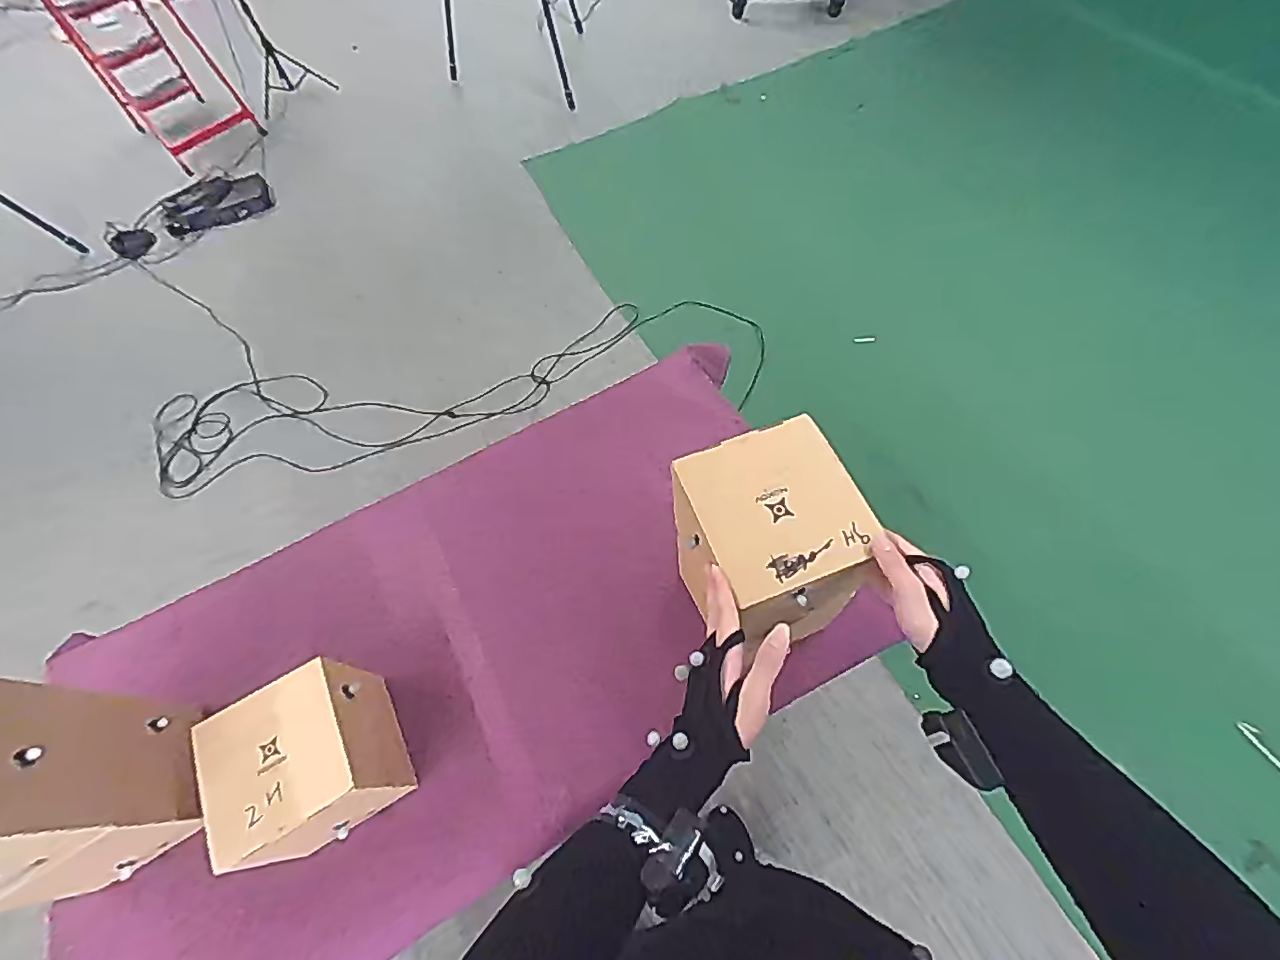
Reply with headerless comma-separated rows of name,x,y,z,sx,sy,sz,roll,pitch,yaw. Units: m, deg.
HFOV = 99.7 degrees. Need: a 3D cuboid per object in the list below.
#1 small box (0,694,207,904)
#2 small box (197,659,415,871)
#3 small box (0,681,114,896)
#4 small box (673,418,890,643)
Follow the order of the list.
small box,-0.705,0.415,0.713,0.168,0.176,0.179,-30,64,-10
small box,-0.429,0.368,0.713,0.168,0.176,0.179,-29,63,-10
small box,-0.718,0.336,0.570,0.168,0.176,0.179,-31,64,-10
small box,0.144,0.064,0.620,0.168,0.176,0.179,-20,62,-5
